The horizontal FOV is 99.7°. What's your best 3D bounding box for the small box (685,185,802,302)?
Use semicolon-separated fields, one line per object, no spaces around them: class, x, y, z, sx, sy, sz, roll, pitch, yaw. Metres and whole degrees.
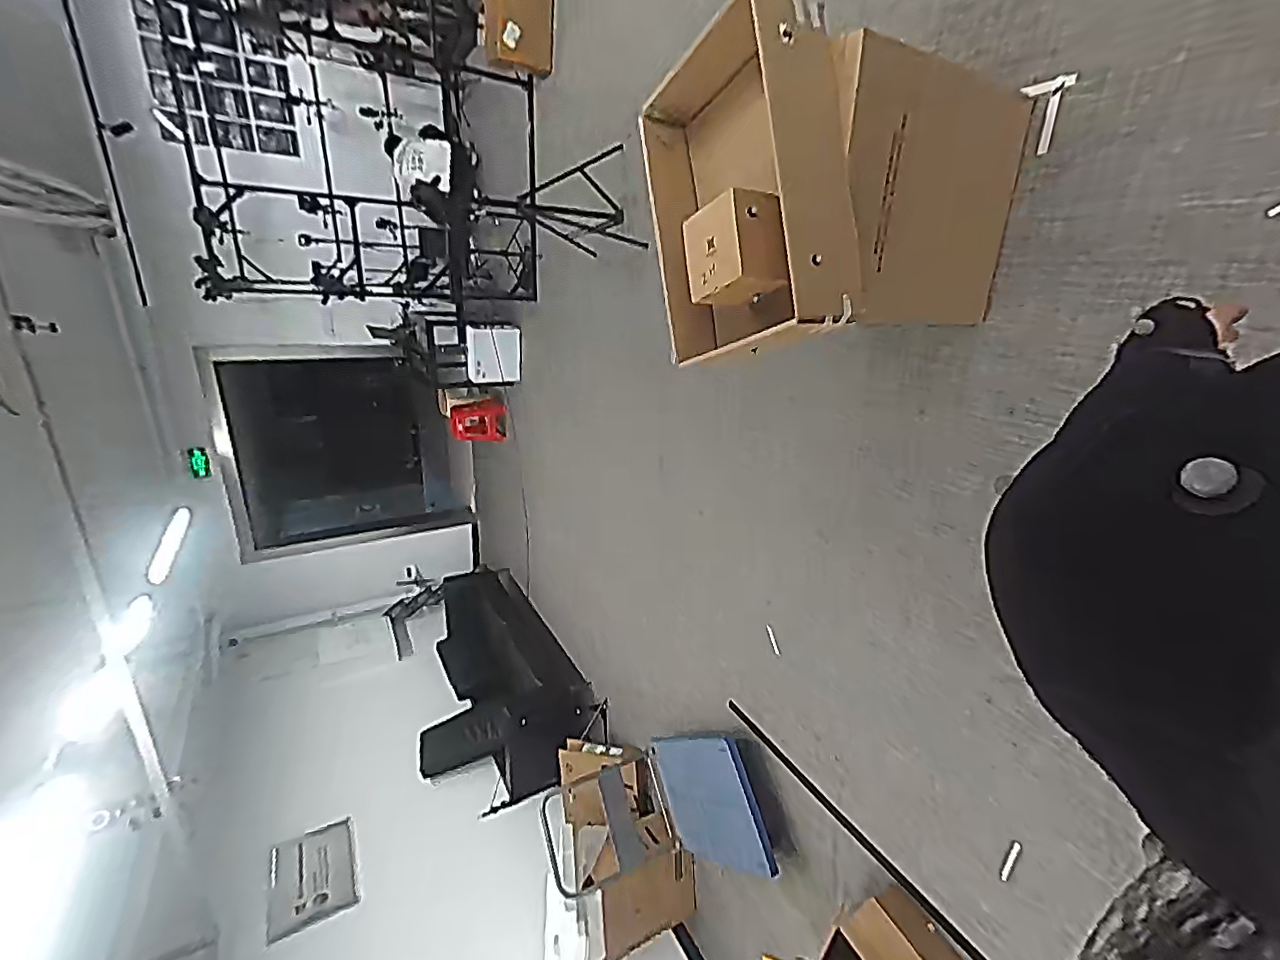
small box;0.216;-0.484;1.135;0.168;0.176;0.179;-2;96;60
